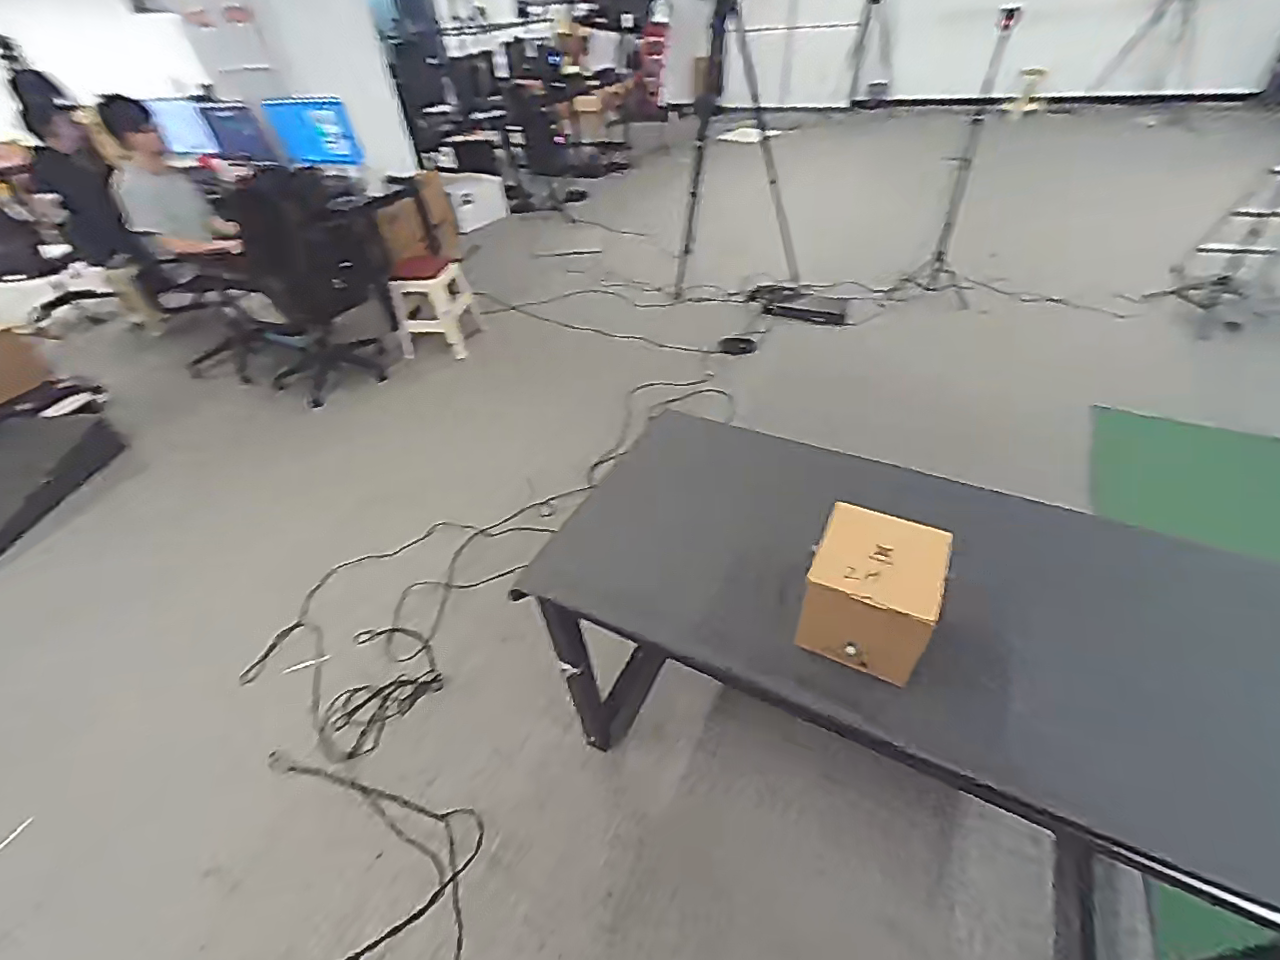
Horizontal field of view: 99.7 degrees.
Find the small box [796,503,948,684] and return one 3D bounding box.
[{"bbox_3d":[0.346,0.169,0.822,0.168,0.176,0.179,17,46,24],"label":"small box"}]
